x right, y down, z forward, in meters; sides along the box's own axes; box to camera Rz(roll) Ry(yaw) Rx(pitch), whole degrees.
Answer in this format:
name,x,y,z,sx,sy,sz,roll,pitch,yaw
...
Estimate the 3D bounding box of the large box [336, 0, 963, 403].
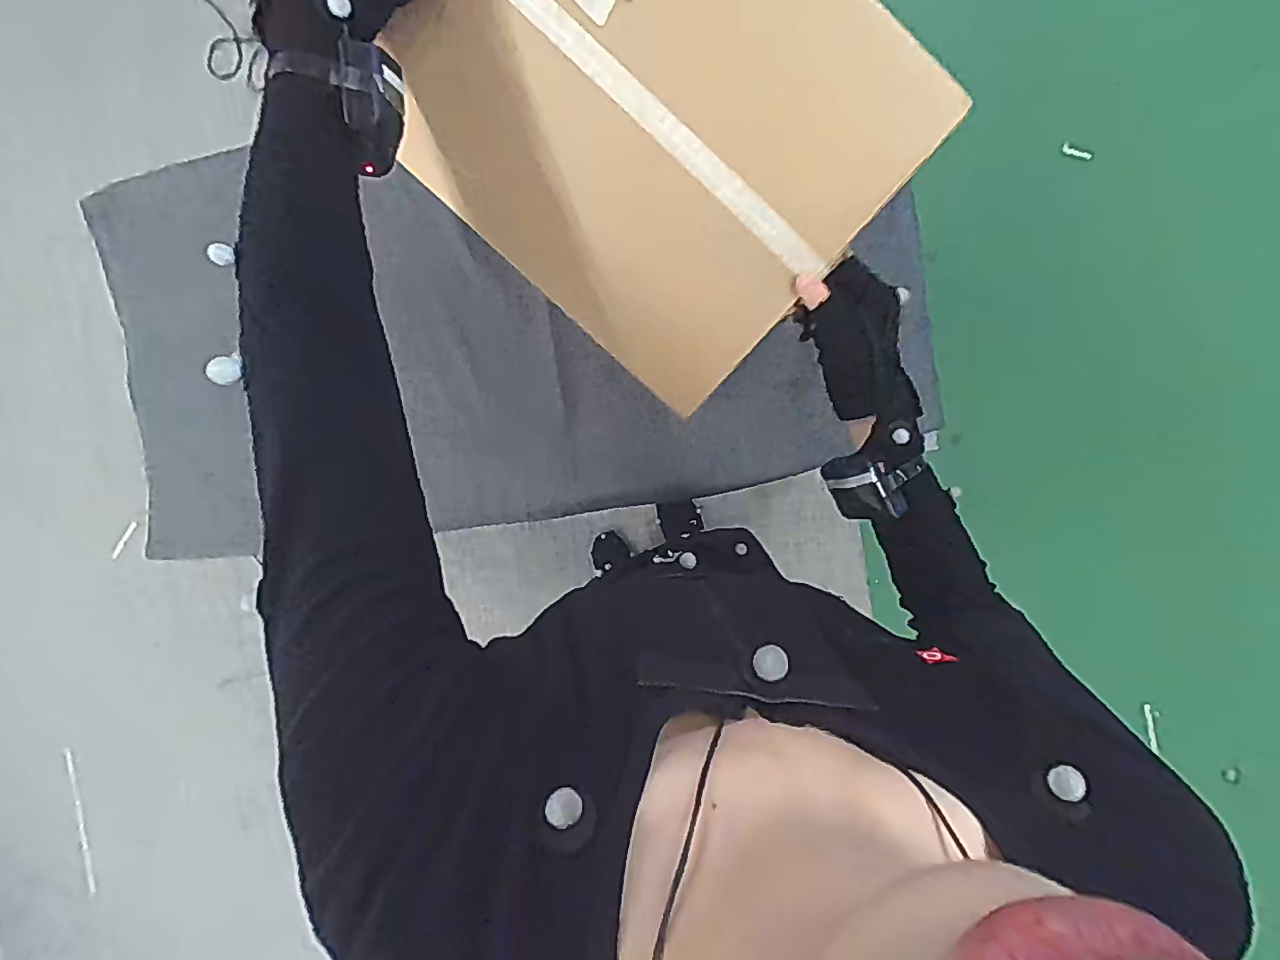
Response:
name,x,y,z,sx,sy,sz,roll,pitch,yaw
large box,0.012,-0.336,0.561,0.408,0.320,0.320,40,106,-3
